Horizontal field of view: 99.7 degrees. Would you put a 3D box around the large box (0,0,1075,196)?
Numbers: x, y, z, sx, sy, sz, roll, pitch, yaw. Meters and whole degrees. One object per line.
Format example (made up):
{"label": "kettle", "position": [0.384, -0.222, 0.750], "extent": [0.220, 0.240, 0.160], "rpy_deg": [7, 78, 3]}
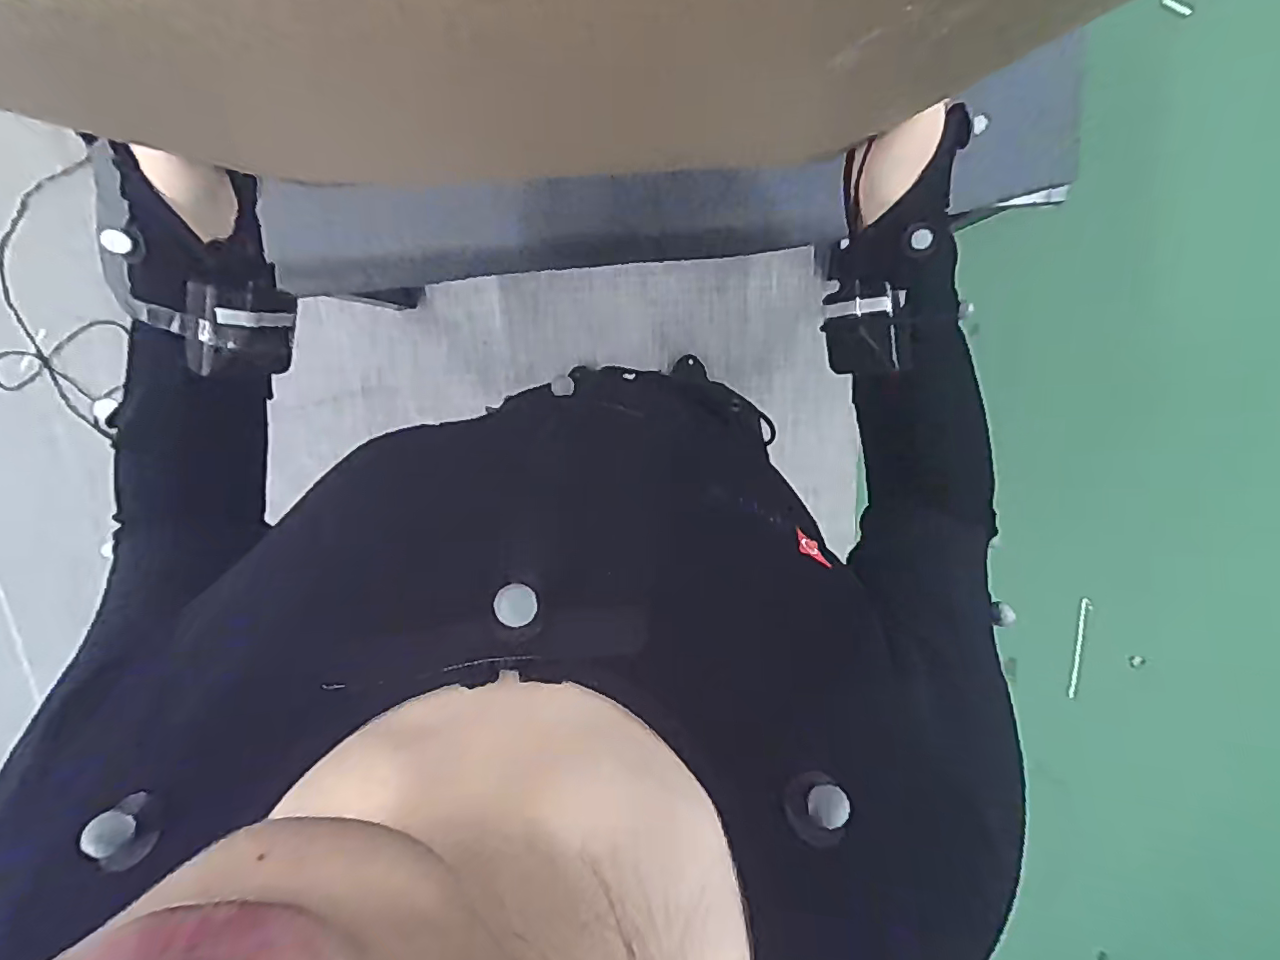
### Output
{"label": "large box", "position": [-0.056, -0.326, 0.229], "extent": [0.408, 0.320, 0.320], "rpy_deg": [-4, 112, -1]}
